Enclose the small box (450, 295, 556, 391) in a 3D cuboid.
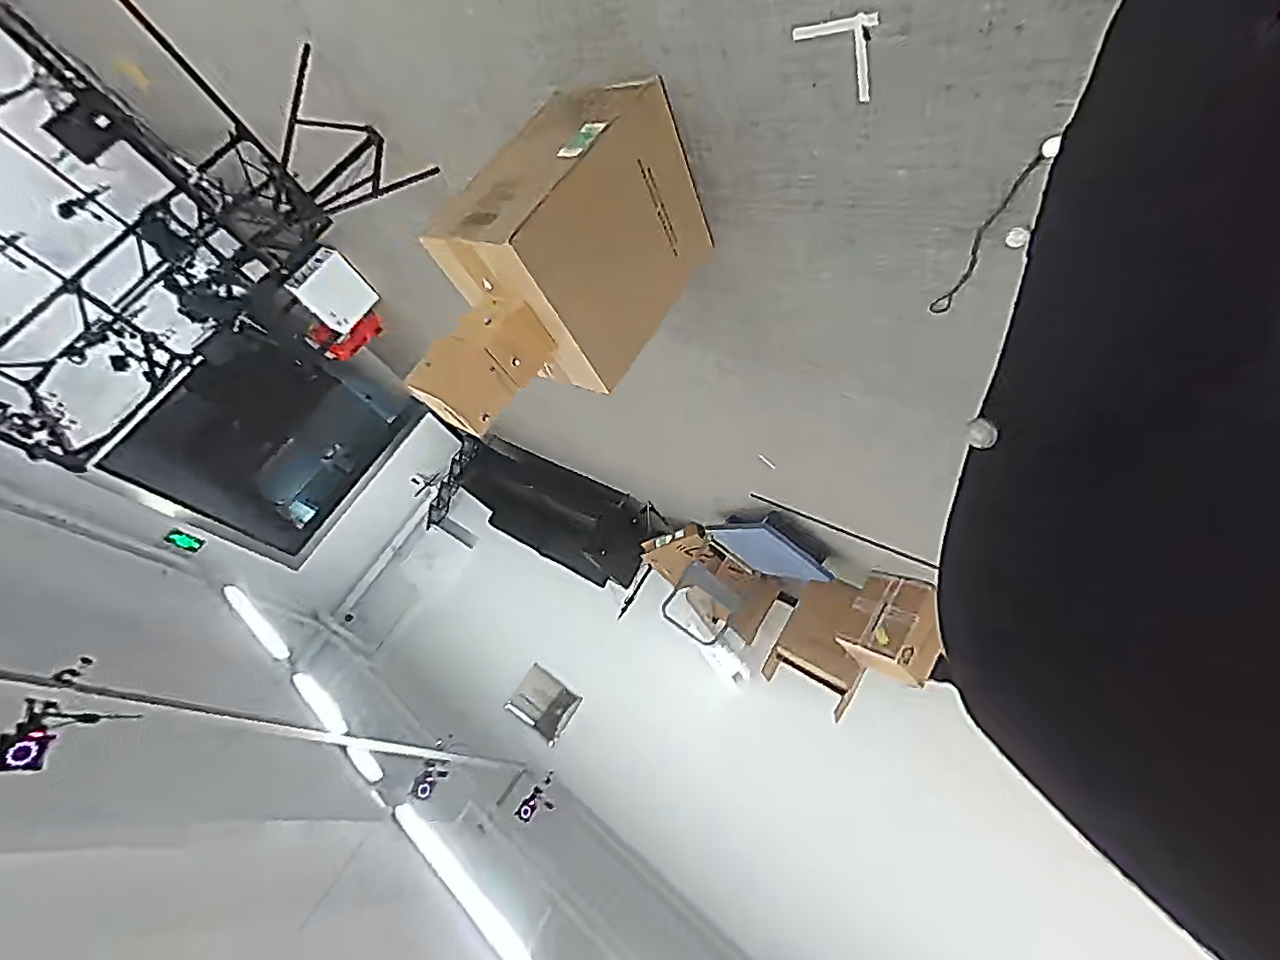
[{"bbox_3d":[-0.361,-0.370,1.445,0.168,0.176,0.179,22,162,35],"label":"small box"}]
